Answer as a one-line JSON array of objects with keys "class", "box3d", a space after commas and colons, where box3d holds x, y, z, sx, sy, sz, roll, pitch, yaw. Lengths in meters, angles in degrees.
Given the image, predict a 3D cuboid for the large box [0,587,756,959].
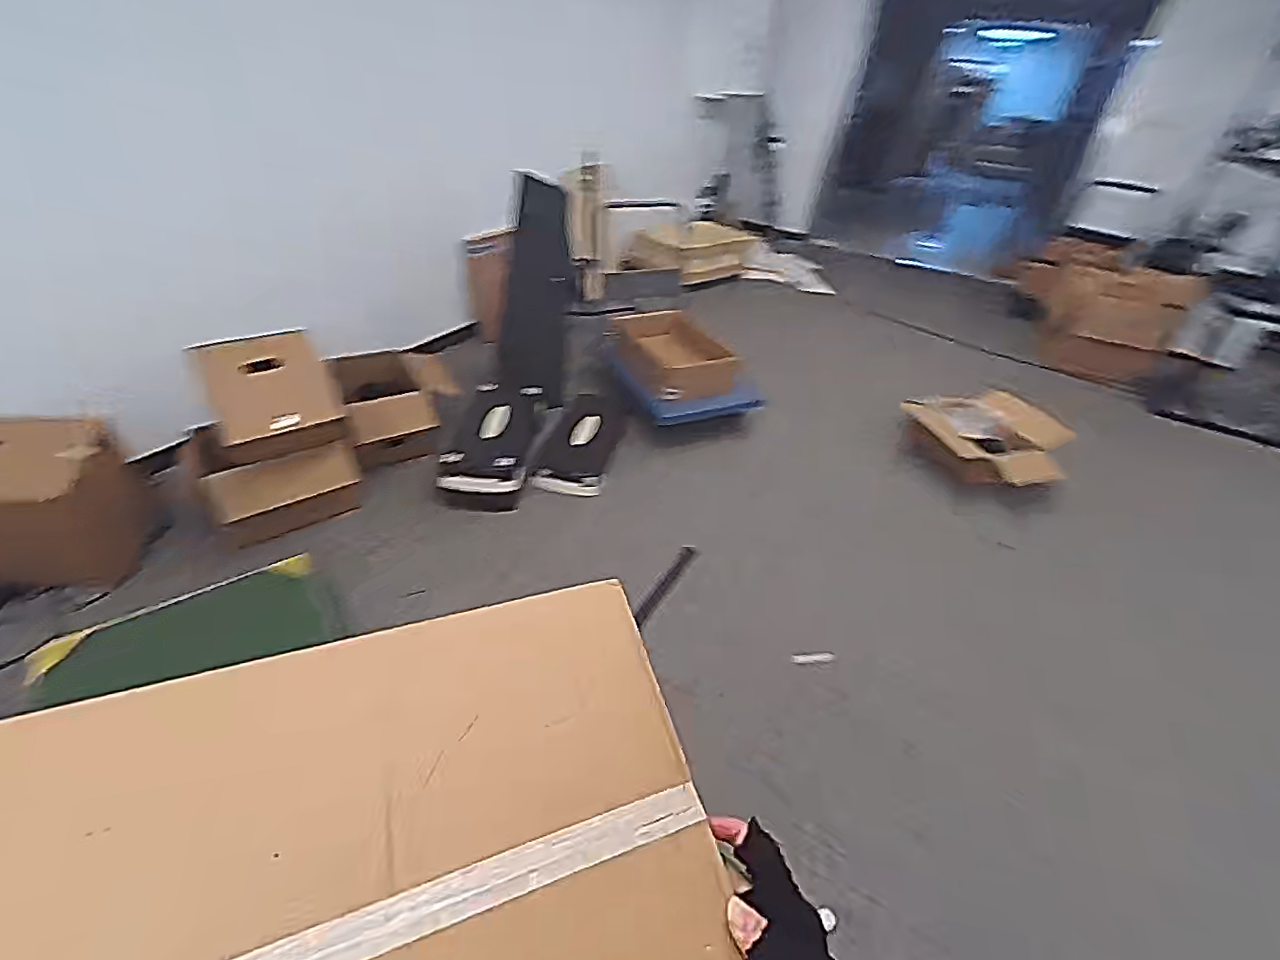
[{"class": "large box", "box3d": [-0.172, 0.322, 0.382, 0.408, 0.320, 0.320, -9, 55, -19]}]
